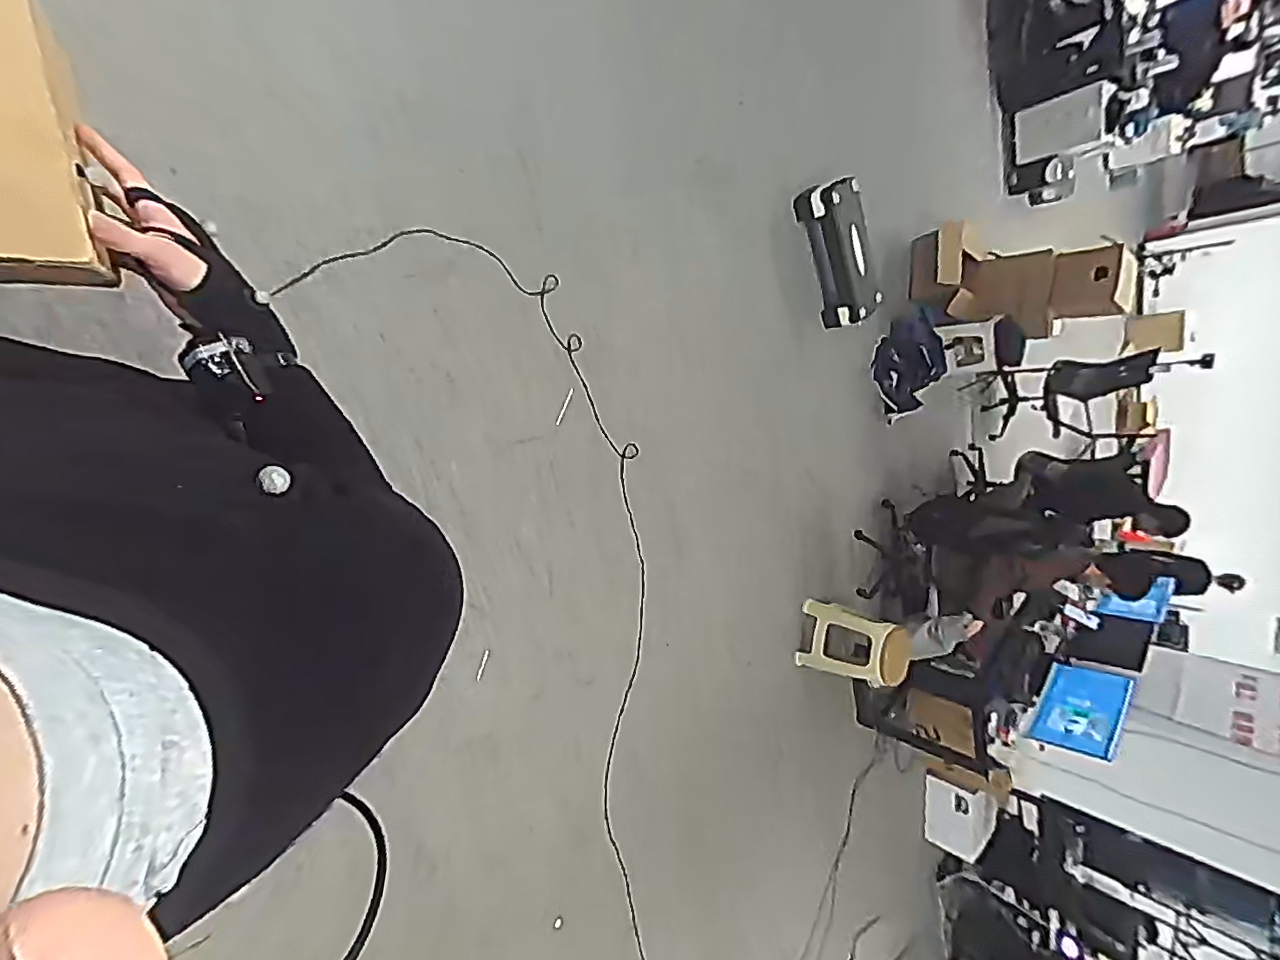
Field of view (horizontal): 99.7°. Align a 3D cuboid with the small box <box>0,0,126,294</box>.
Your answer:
[{"bbox_3d":[-0.477,-0.222,0.362,0.168,0.176,0.179,-13,109,-39],"label":"small box"}]
